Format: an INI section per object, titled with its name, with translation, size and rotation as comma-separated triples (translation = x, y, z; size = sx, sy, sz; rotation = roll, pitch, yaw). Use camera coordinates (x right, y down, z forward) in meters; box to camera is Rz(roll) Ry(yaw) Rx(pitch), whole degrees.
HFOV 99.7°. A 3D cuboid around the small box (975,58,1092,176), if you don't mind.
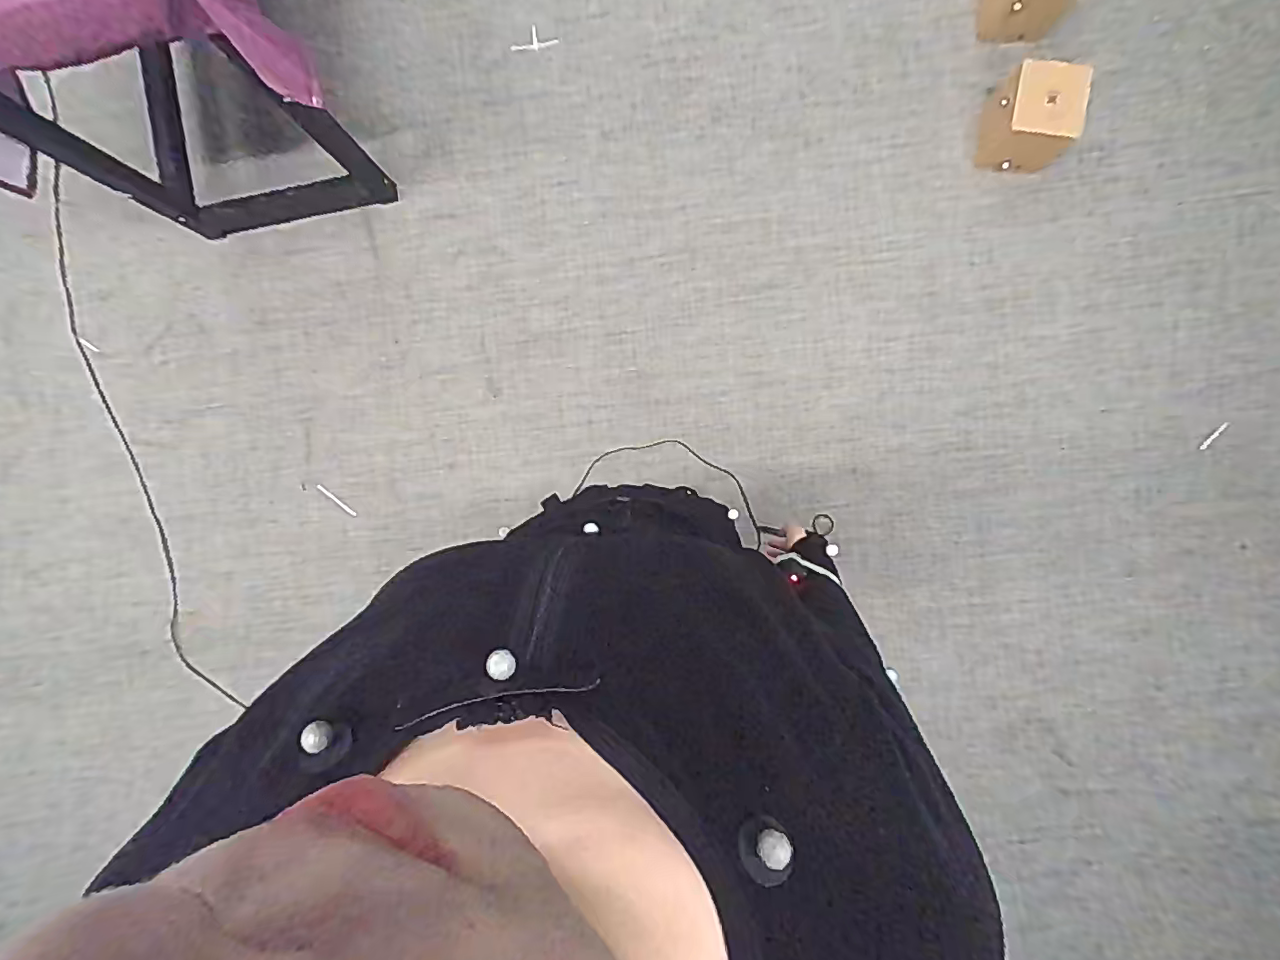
[small box]
translation = 0.992, -0.916, 1.378
size = 0.168, 0.176, 0.179
rotation = 10, 92, 3
